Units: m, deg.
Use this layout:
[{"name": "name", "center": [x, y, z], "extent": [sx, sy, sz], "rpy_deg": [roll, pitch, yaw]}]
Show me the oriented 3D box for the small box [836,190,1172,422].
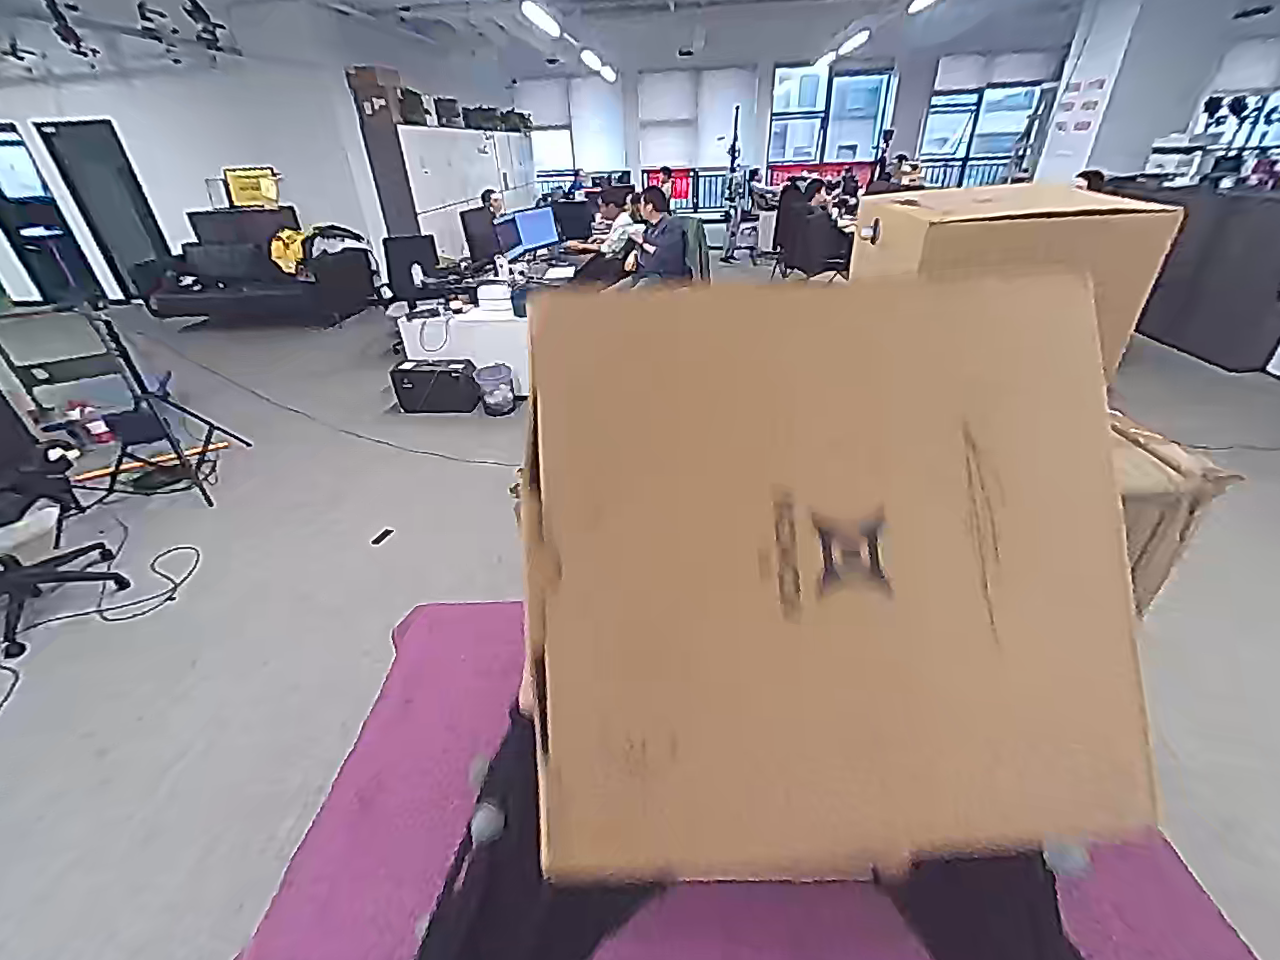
[{"name": "small box", "center": [0.298, -0.161, 0.495], "extent": [0.179, 0.176, 0.168], "rpy_deg": [-1, 32, 4]}]
